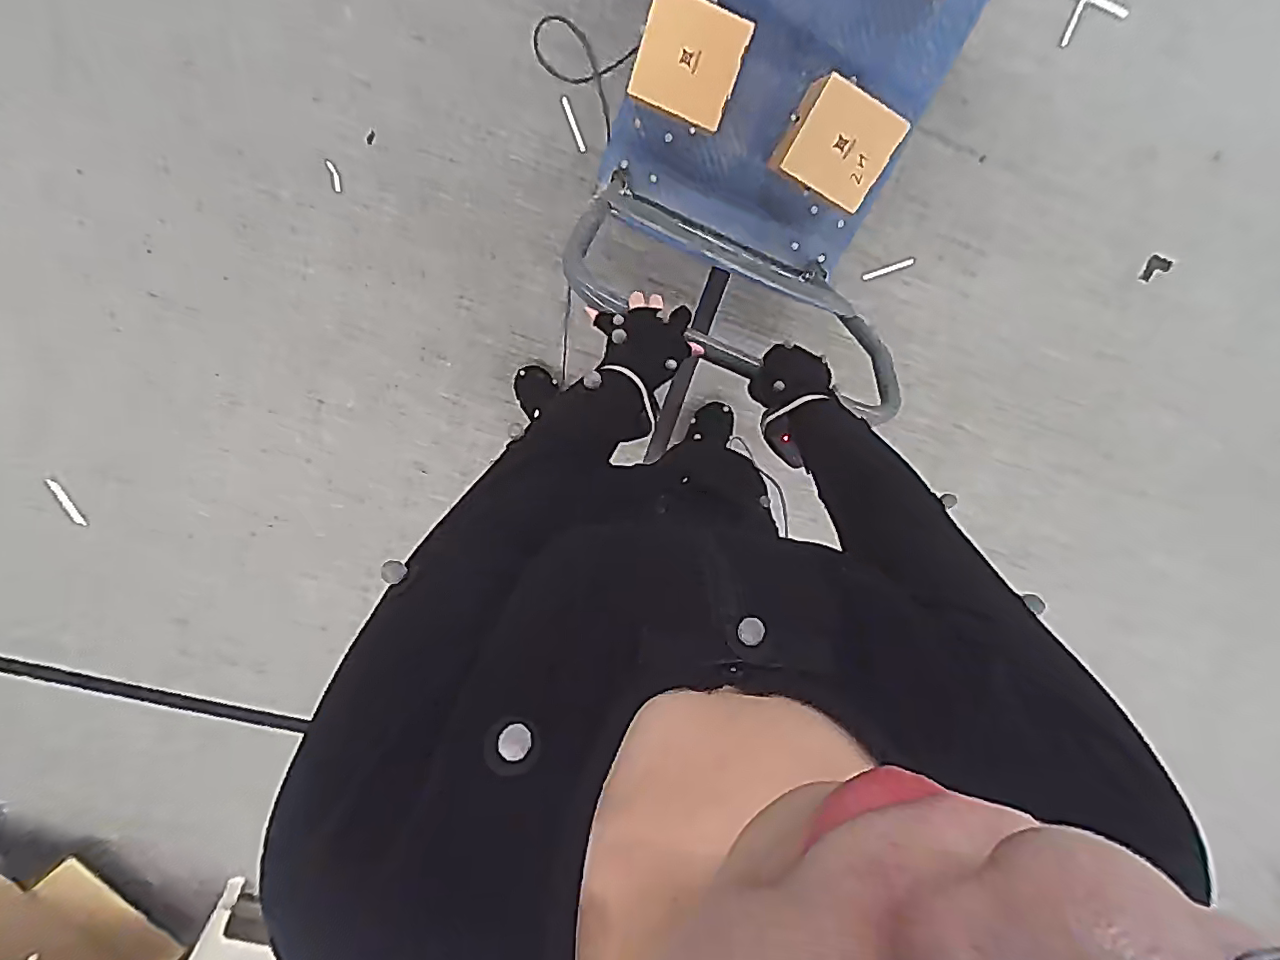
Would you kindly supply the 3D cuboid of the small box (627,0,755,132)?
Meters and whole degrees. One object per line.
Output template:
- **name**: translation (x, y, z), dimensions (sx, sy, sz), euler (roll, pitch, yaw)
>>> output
- **small box**: translation (0.086, -0.767, 1.001), dimensions (0.179, 0.176, 0.168), euler (18, 120, -10)

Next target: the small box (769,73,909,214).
- **small box**: translation (0.375, -0.649, 1.059), dimensions (0.179, 0.176, 0.168), euler (25, 119, -12)
